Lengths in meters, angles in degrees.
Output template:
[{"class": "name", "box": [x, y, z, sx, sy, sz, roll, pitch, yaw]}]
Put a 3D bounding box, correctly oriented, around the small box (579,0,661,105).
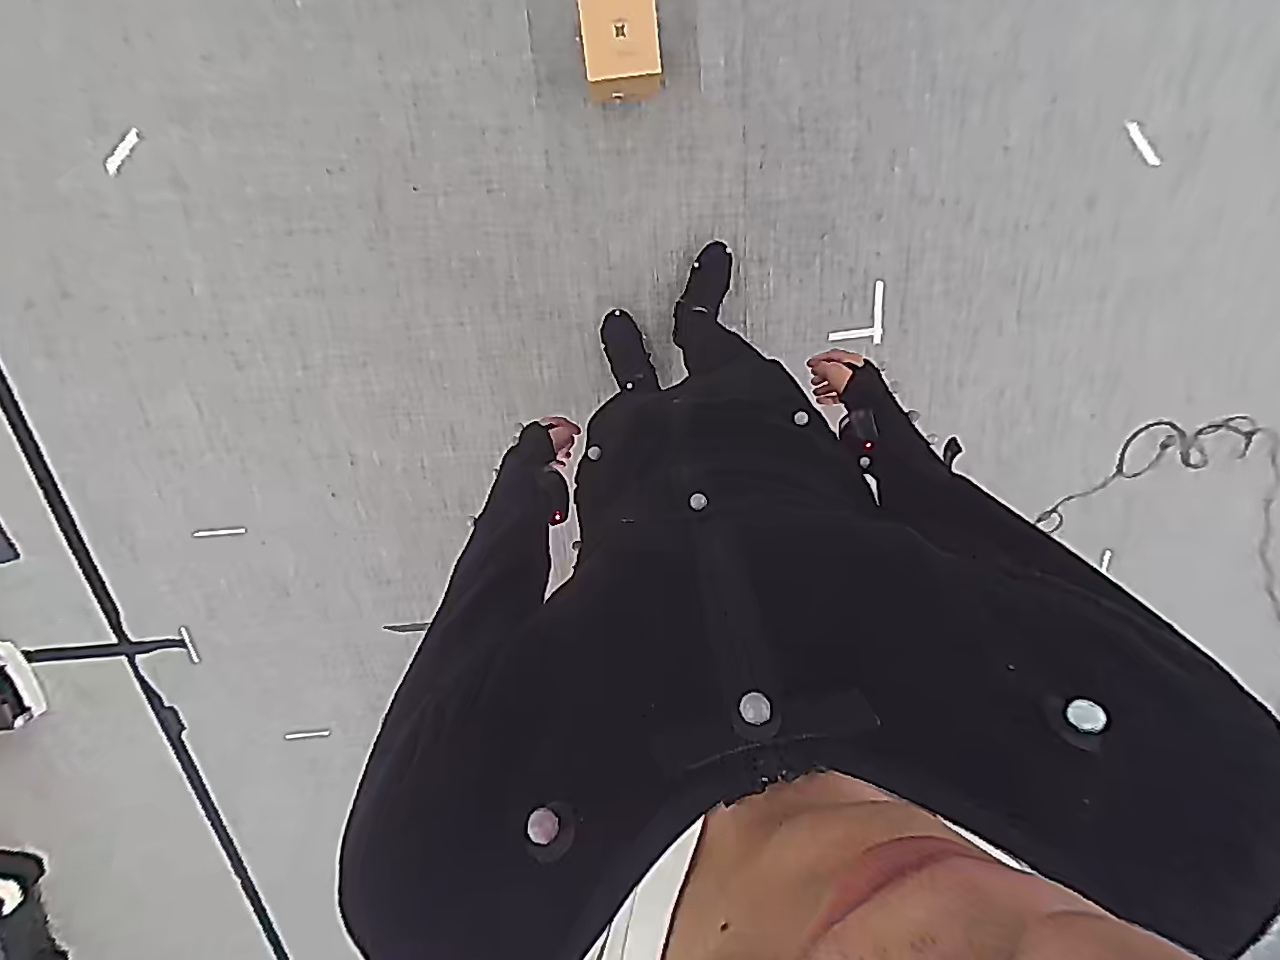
[{"class": "small box", "box": [-0.048, -0.990, 1.232, 0.168, 0.176, 0.179, -7, 111, 0]}]
